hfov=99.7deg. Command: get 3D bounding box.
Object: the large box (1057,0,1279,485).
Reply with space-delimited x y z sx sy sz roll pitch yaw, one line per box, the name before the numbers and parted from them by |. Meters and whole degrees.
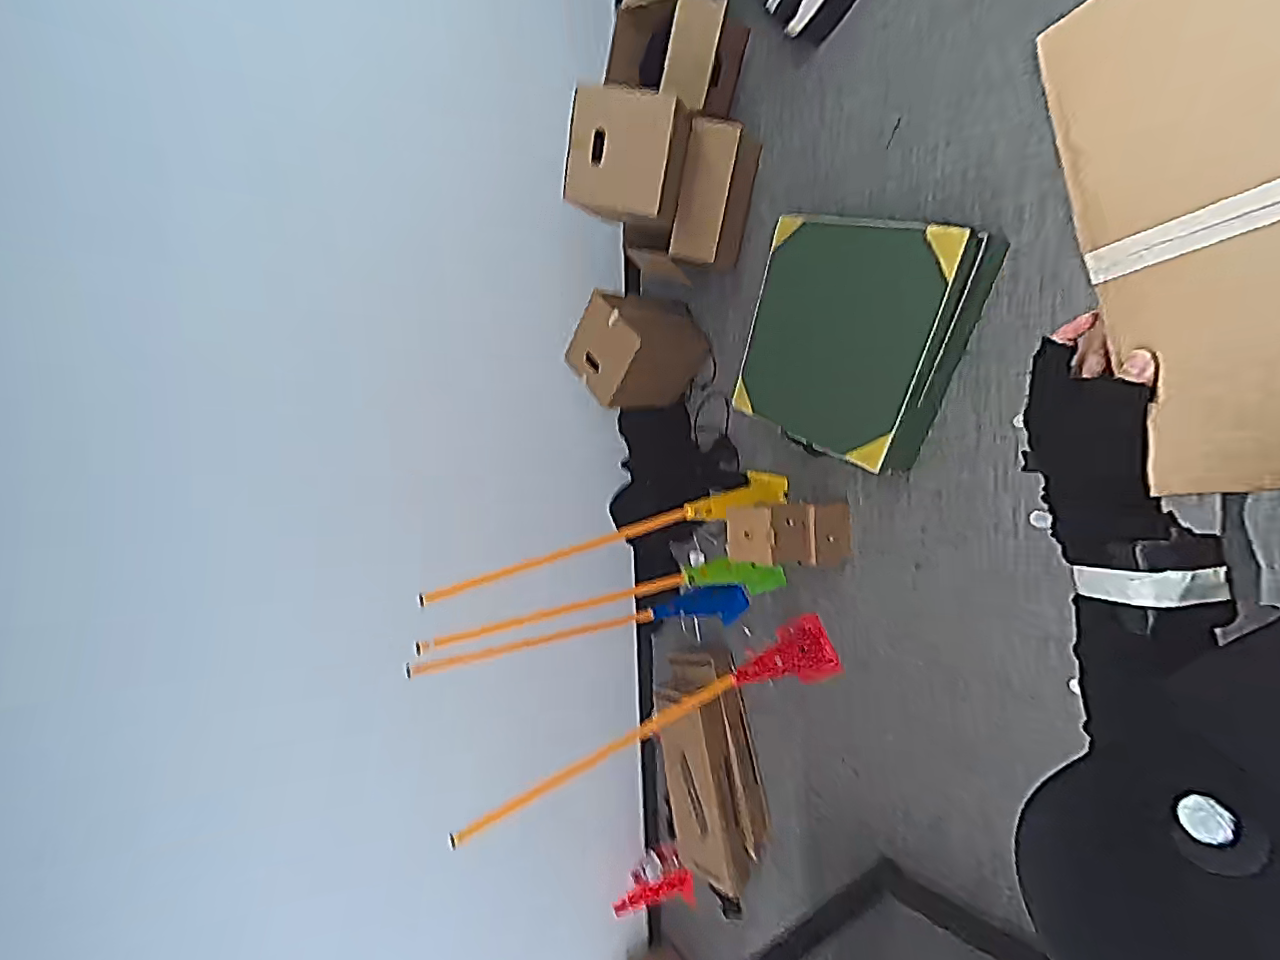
large box | 0.535 -0.196 0.276 0.408 0.320 0.320 -10 95 58
